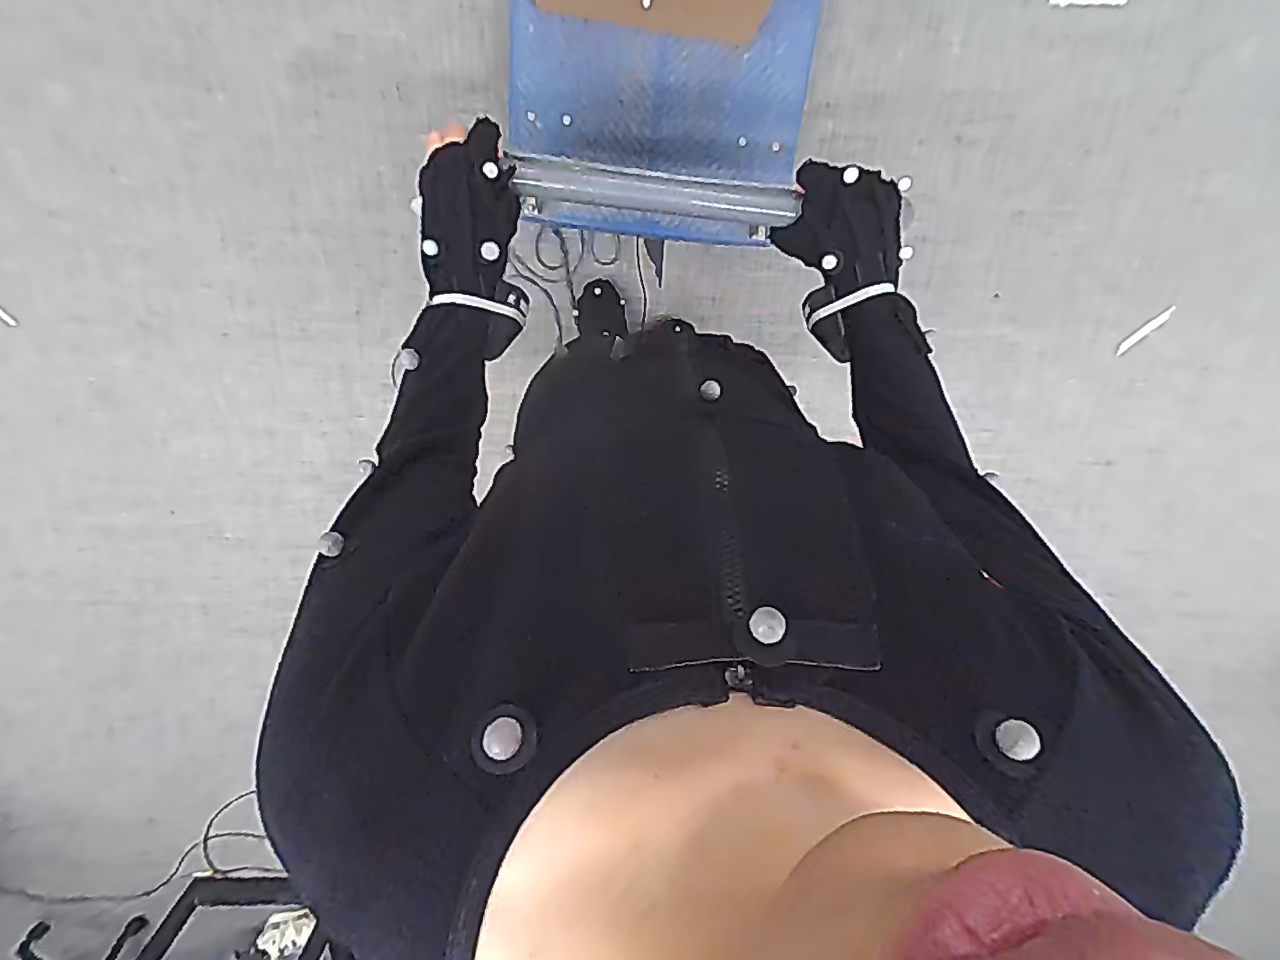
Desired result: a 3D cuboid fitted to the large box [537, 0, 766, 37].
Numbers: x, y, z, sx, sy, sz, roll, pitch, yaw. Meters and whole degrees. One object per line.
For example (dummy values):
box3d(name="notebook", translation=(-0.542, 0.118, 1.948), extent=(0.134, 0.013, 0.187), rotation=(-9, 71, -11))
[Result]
box3d(name="large box", translation=(0.026, -0.947, 0.834), extent=(0.408, 0.320, 0.320), rotation=(6, 111, -4))
